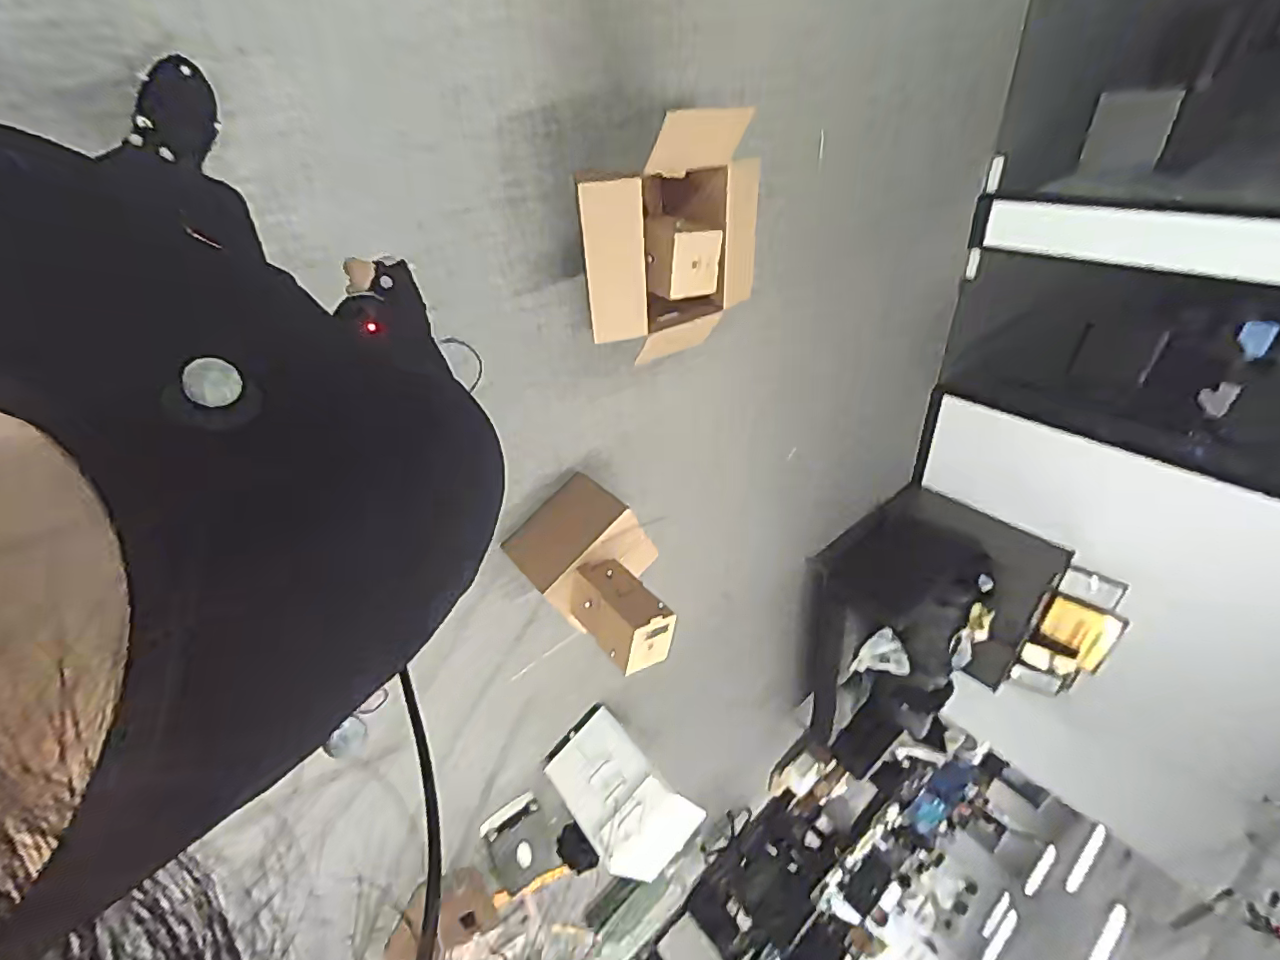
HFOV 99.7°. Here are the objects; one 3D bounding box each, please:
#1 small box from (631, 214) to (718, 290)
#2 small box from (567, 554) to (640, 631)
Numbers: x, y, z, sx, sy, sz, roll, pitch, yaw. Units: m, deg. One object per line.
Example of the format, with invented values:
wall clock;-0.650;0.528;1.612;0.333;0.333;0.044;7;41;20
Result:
small box;0.090;-0.645;1.521;0.179;0.176;0.168;-22;132;-33
small box;-0.126;0.364;1.795;0.168;0.176;0.179;-10;120;-39
